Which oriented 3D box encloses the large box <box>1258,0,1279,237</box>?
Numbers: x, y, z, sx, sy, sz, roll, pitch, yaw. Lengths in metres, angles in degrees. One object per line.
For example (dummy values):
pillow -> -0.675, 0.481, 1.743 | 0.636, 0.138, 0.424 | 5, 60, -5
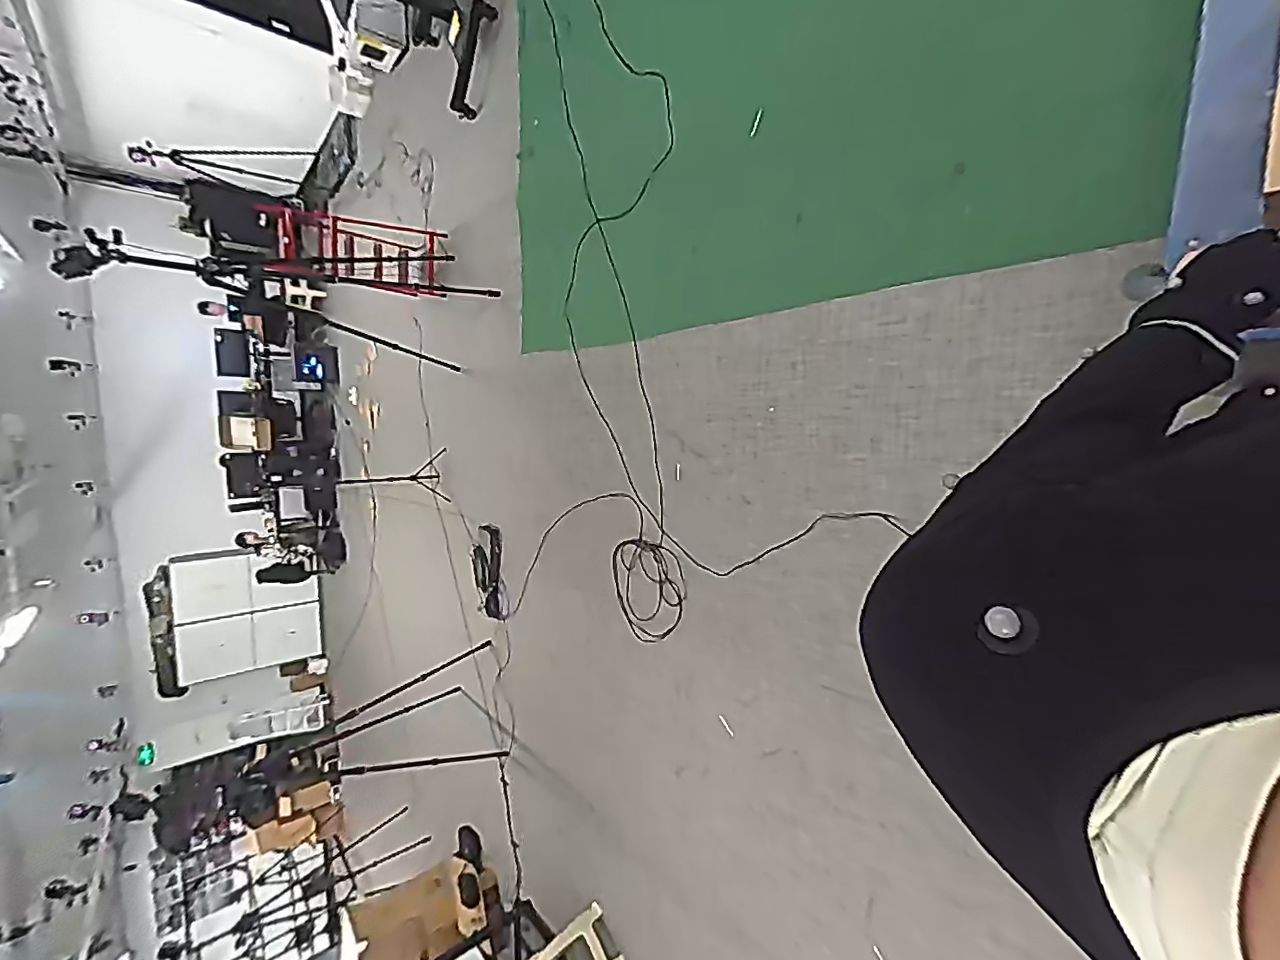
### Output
large box -> 1.116, -0.612, 0.747 | 0.320, 0.320, 0.408 | 8, 99, 49
